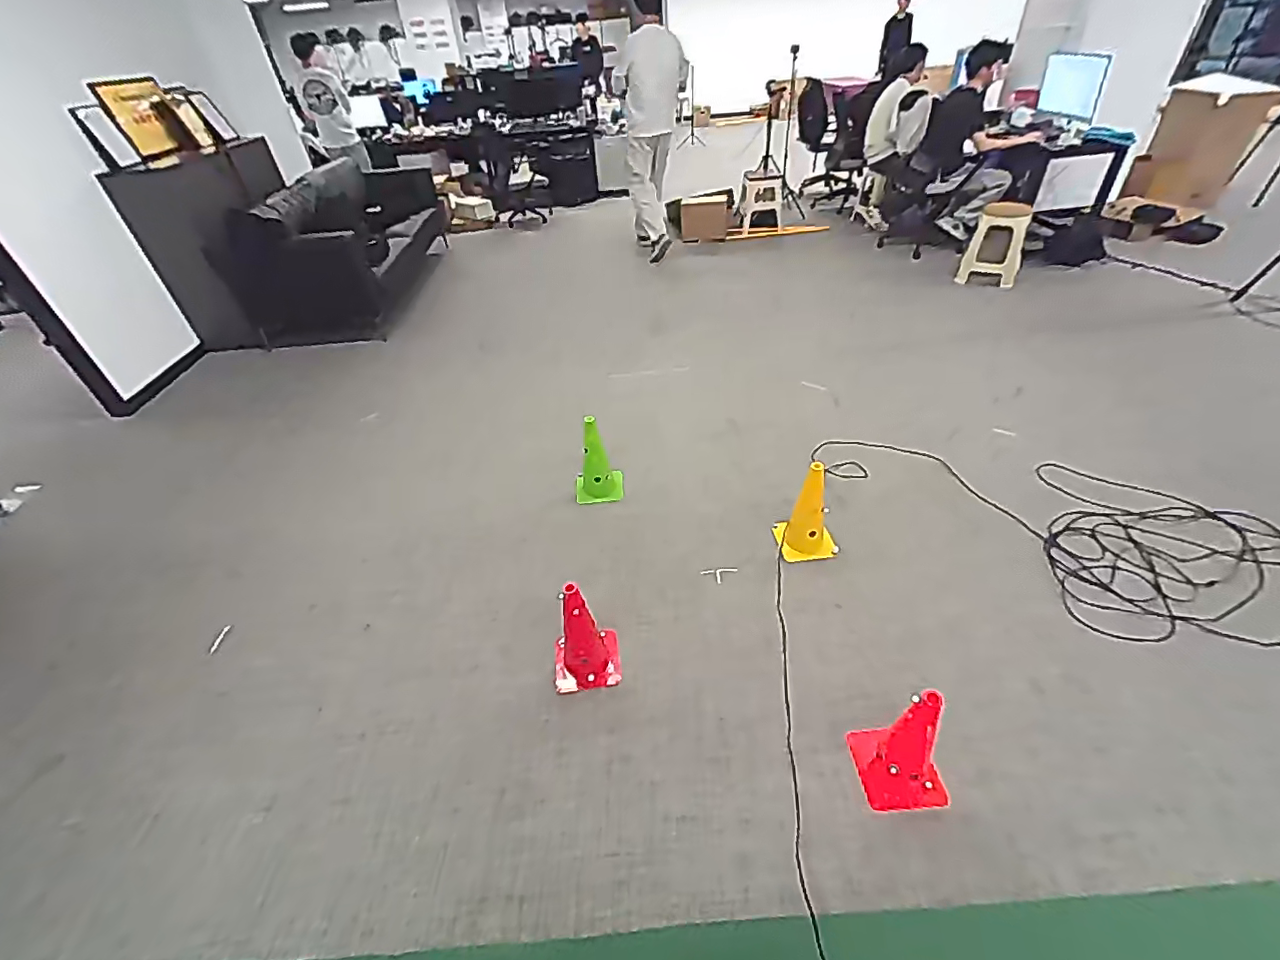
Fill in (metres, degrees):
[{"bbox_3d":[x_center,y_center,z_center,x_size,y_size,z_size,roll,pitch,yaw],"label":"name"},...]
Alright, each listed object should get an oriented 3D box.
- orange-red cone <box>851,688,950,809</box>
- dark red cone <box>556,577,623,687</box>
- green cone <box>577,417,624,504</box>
[{"bbox_3d":[0.653,0.604,1.286,0.198,0.360,0.199,-4,38,0],"label":"orange-red cone"},{"bbox_3d":[-0.172,0.420,1.576,0.202,0.394,0.201,-9,41,-4],"label":"dark red cone"},{"bbox_3d":[-0.183,-0.099,2.245,0.202,0.368,0.200,-5,40,-2],"label":"green cone"}]
